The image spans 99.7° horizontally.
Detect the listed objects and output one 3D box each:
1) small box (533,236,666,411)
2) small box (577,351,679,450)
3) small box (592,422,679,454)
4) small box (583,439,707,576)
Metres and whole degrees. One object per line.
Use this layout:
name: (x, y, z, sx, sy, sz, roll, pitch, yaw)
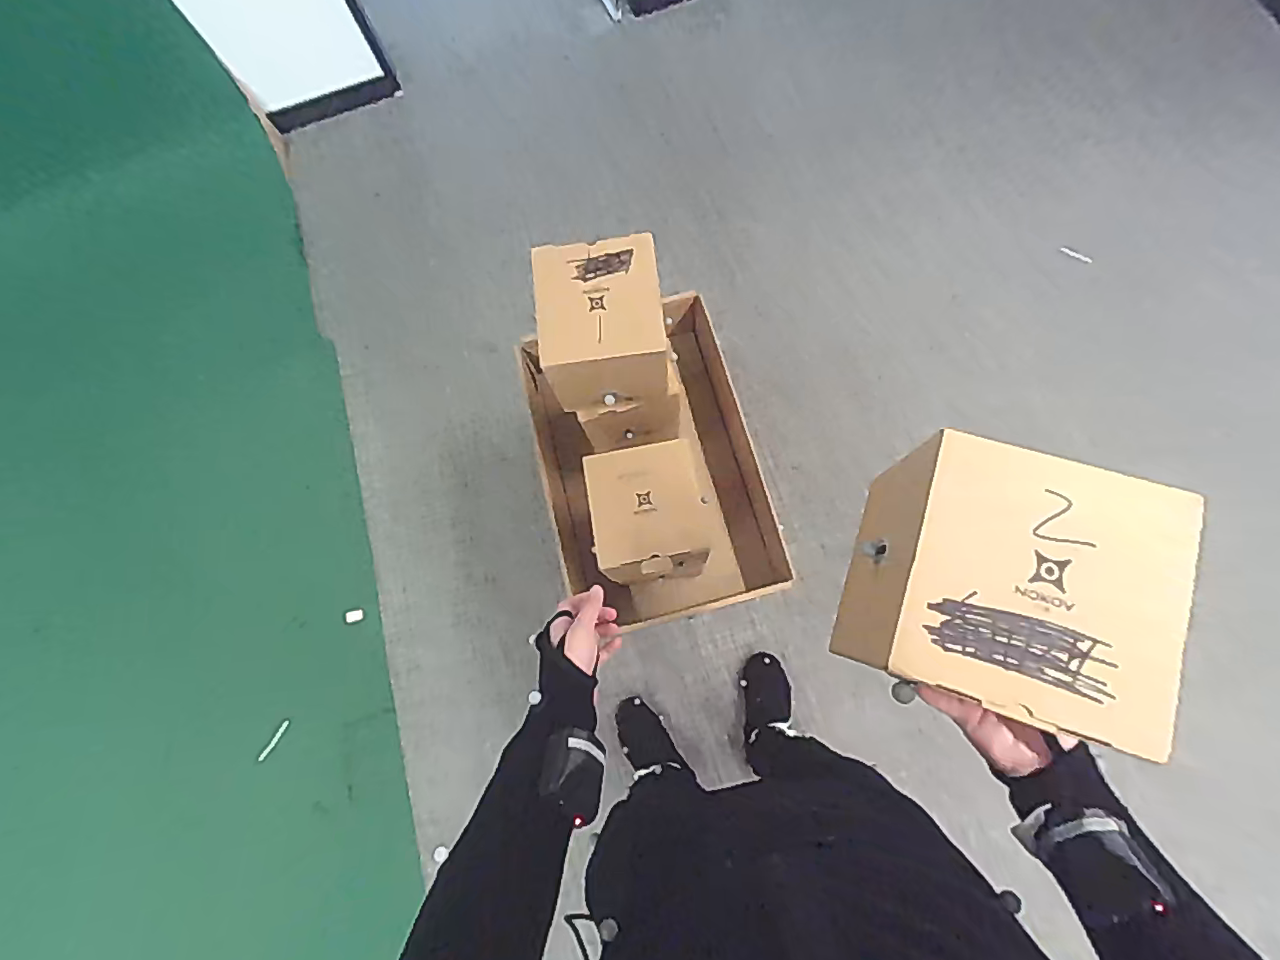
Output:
small box: (-0.052, -0.217, 0.784, 0.168, 0.176, 0.179, -7, 77, 2)
small box: (-0.035, -0.173, 0.941, 0.168, 0.176, 0.179, -16, 76, 0)
small box: (-0.022, -0.137, 1.097, 0.168, 0.176, 0.179, -15, 77, 1)
small box: (0.011, 0.054, 0.870, 0.168, 0.176, 0.179, -10, 73, 1)
